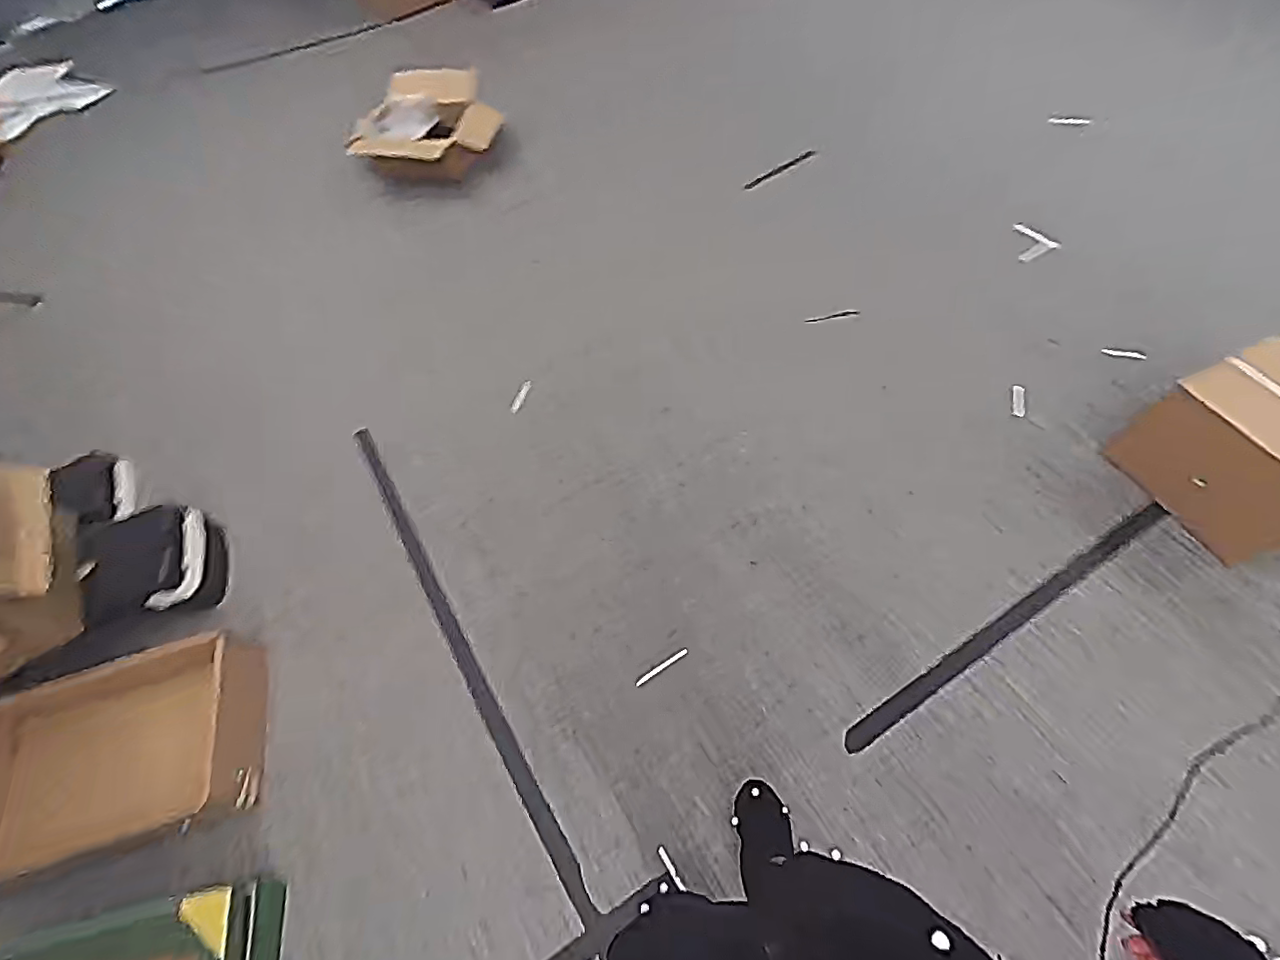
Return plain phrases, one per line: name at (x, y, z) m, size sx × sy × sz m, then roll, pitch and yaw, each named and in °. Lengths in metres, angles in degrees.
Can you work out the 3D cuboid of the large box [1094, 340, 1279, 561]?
large box at (1.524, -0.072, 1.375) m, size 0.320 × 0.320 × 0.408 m, roll -25°, pitch 61°, yaw -8°
